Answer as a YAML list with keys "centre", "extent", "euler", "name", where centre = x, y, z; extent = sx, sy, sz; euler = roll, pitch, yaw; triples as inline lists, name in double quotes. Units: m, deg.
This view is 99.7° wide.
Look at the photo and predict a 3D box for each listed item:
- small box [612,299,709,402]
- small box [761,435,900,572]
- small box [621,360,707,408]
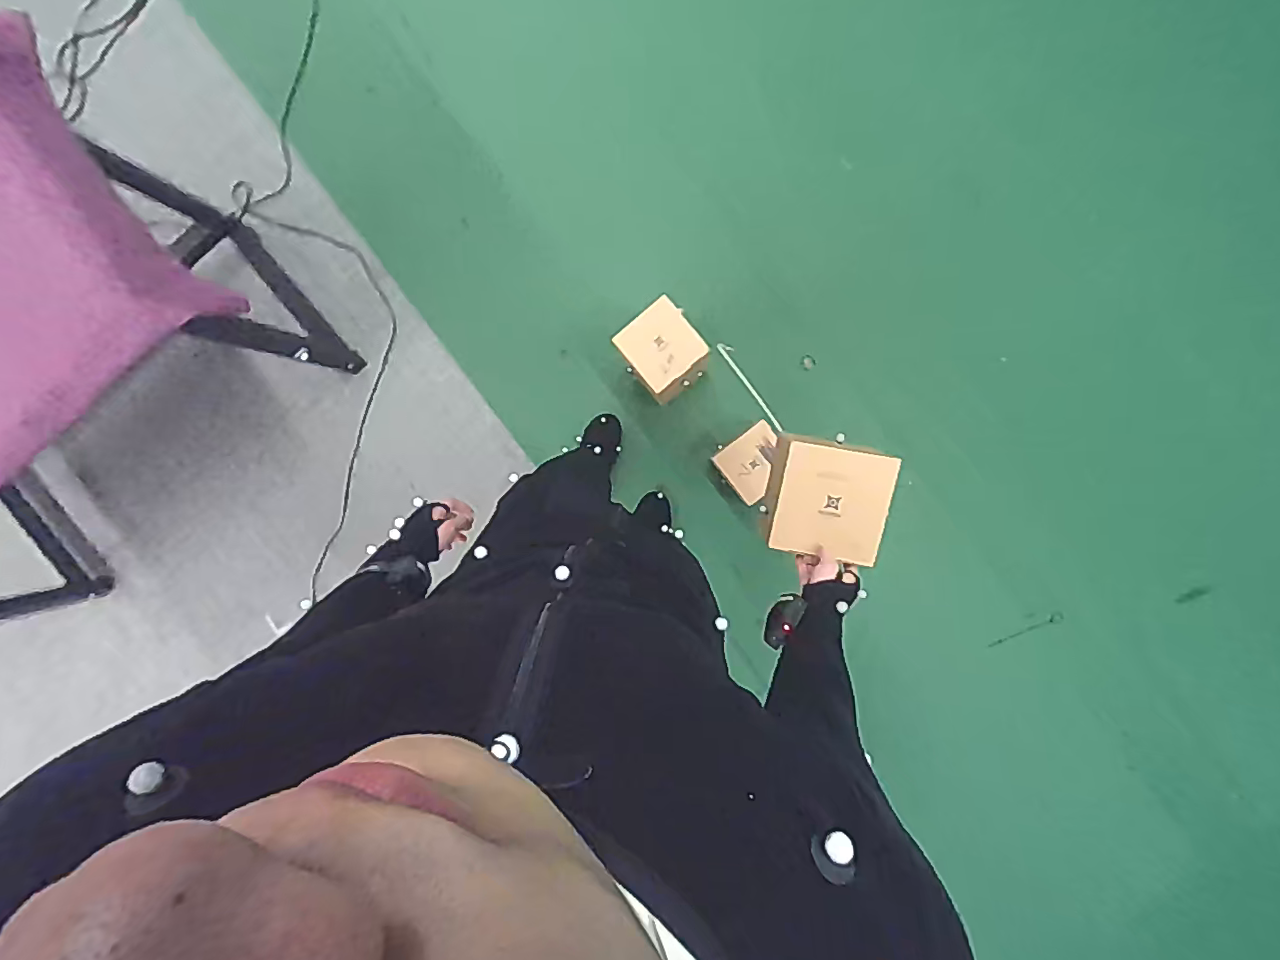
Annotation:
- centre: [0.052, -0.313, 1.353]
  extent: [0.168, 0.176, 0.179]
  euler: [-39, 89, 4]
  name: "small box"
- centre: [0.303, 0.030, 0.900]
  extent: [0.168, 0.176, 0.179]
  euler: [11, 101, 5]
  name: "small box"
- centre: [0.070, -0.319, 1.517]
  extent: [0.179, 0.176, 0.168]
  euler: [-39, 88, 4]
  name: "small box"
